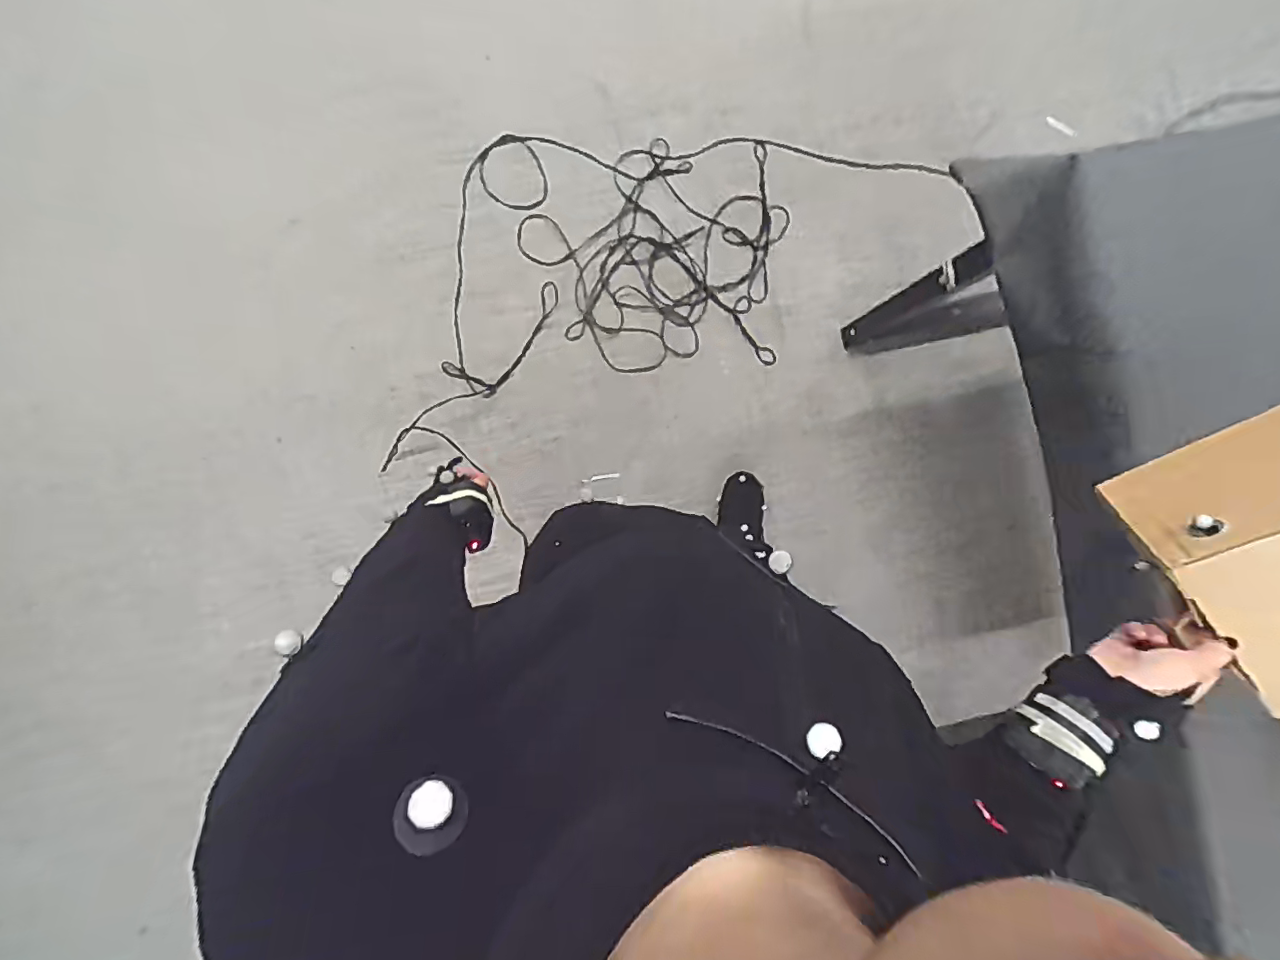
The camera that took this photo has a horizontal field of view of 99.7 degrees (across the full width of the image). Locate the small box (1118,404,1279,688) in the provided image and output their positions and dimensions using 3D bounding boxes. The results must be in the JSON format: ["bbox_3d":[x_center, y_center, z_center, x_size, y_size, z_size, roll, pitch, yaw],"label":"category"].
[{"bbox_3d":[0.561,0.048,0.445,0.179,0.176,0.168,-38,95,33],"label":"small box"}]
